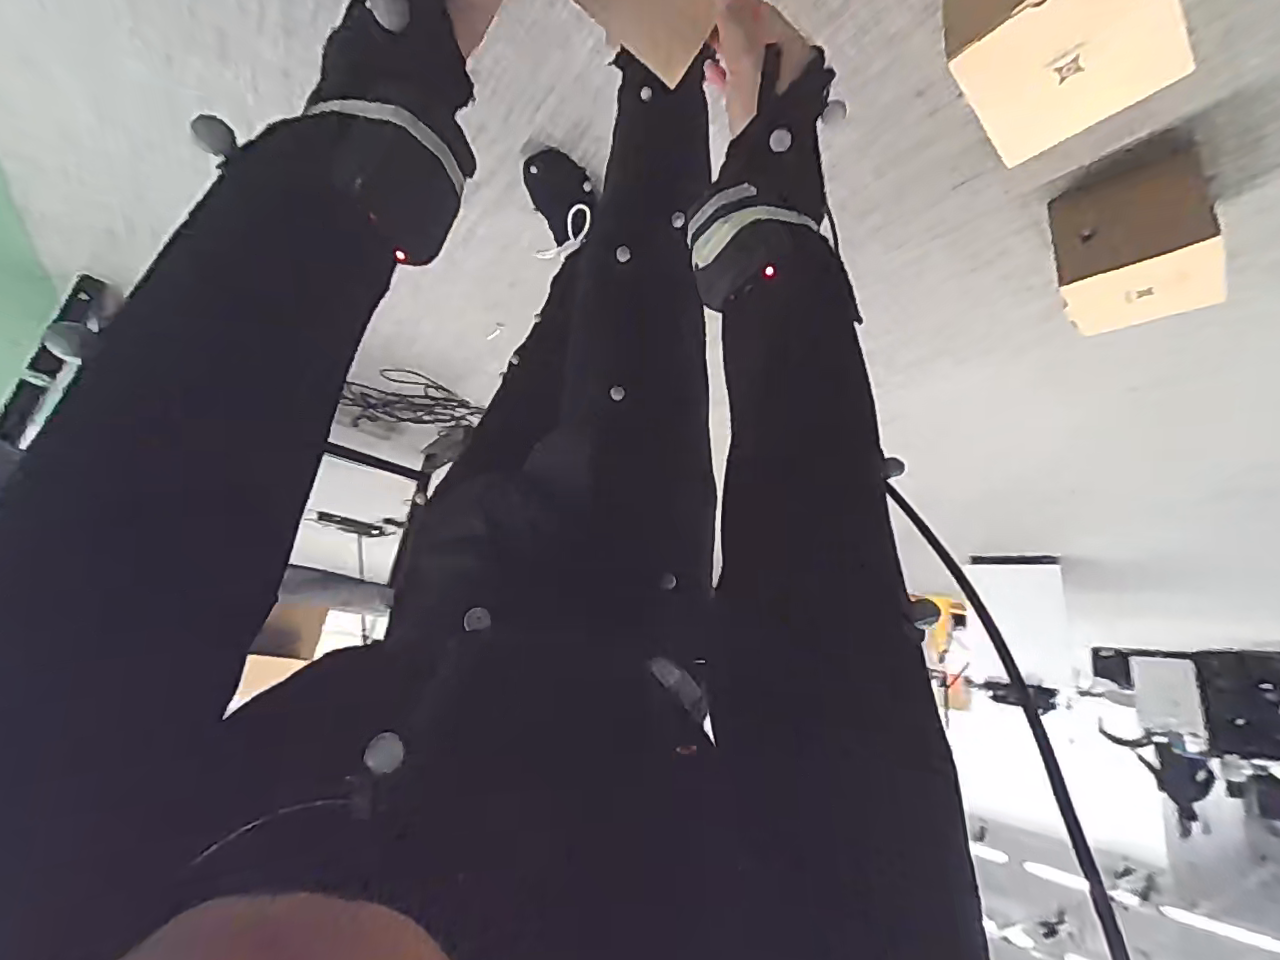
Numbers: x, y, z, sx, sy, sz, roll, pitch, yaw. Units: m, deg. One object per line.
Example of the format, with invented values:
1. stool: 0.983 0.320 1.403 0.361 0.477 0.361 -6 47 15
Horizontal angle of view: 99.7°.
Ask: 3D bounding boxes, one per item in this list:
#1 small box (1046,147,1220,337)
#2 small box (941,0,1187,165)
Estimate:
1. small box: 0.753 -0.357 0.837 0.168 0.176 0.179 23 155 -39
2. small box: 0.442 -0.496 0.574 0.179 0.176 0.168 23 156 -35
